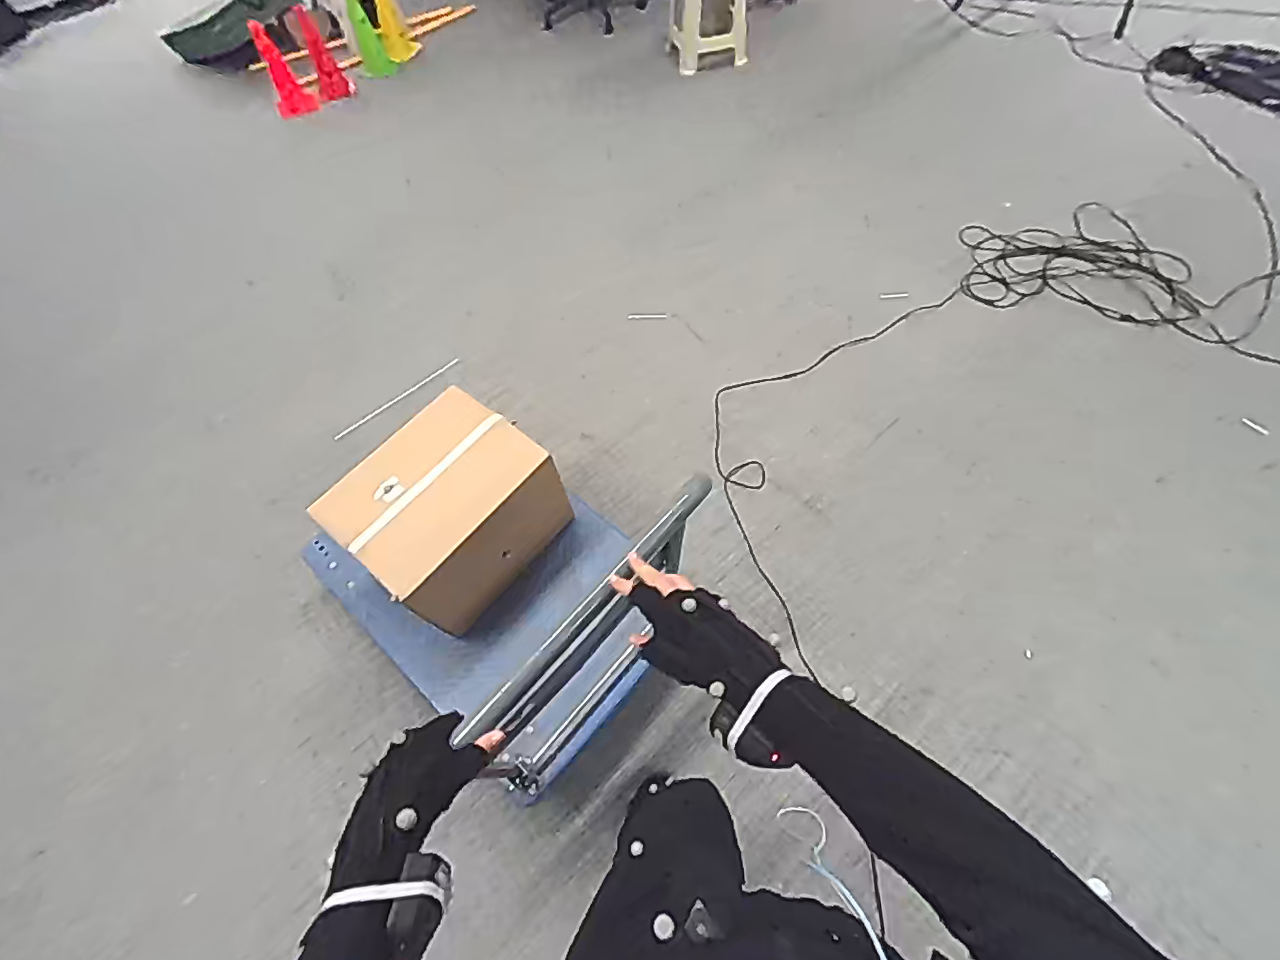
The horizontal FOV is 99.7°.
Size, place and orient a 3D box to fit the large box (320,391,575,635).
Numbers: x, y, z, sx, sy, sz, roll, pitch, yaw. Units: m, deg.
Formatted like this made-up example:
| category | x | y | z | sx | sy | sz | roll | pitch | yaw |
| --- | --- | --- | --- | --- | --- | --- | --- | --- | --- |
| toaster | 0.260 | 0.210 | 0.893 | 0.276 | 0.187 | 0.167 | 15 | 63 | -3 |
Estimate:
| category | x | y | z | sx | sy | sz | roll | pitch | yaw |
| --- | --- | --- | --- | --- | --- | --- | --- | --- | --- |
| large box | -0.410 | 0.081 | 1.254 | 0.320 | 0.320 | 0.408 | 33 | 70 | 21 |
